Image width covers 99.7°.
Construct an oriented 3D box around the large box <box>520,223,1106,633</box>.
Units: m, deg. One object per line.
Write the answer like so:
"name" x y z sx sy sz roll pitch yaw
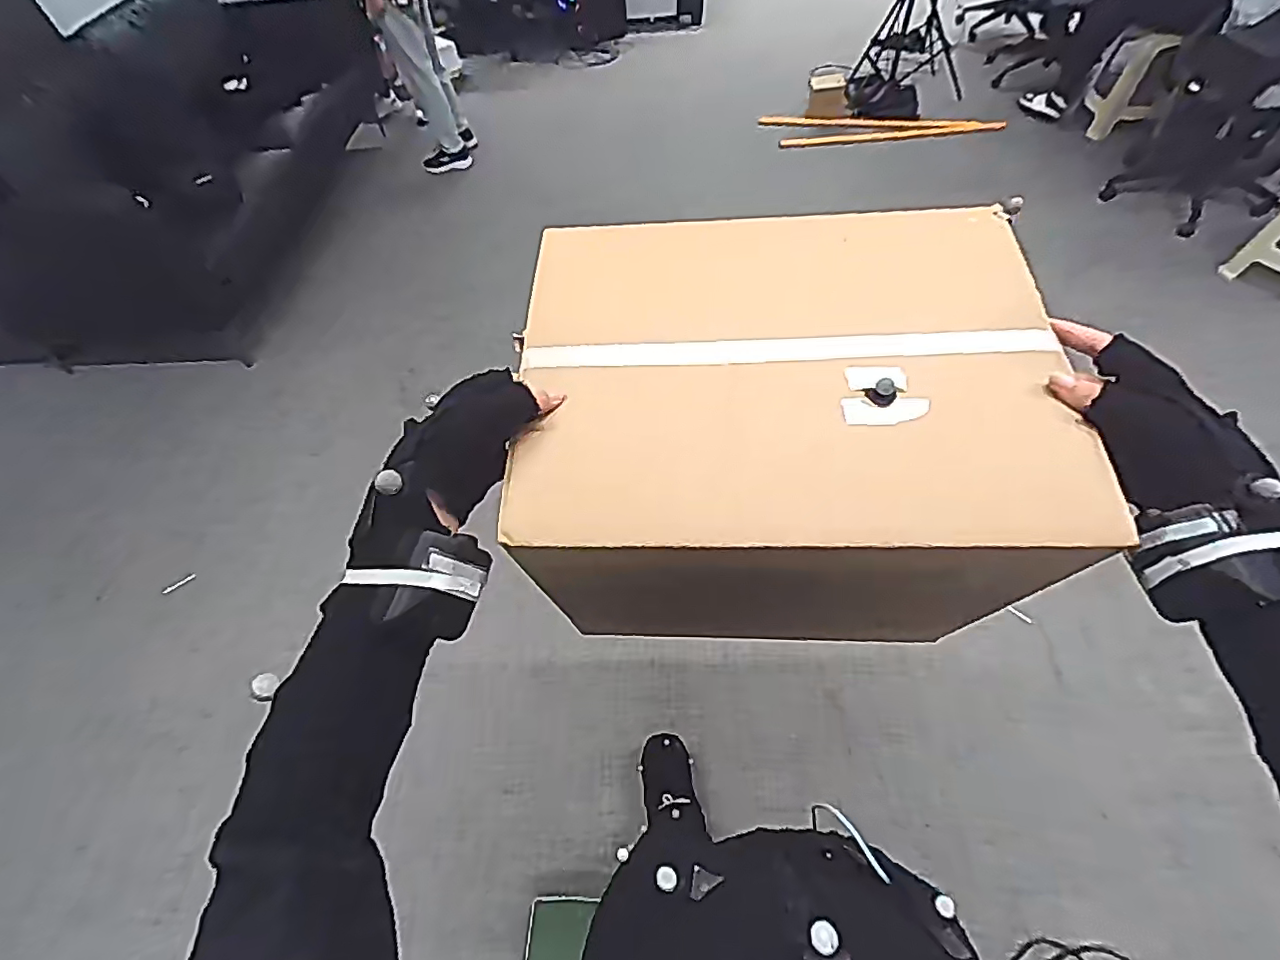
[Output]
"large box" 0.121 -0.028 0.566 0.408 0.320 0.320 0 63 4
